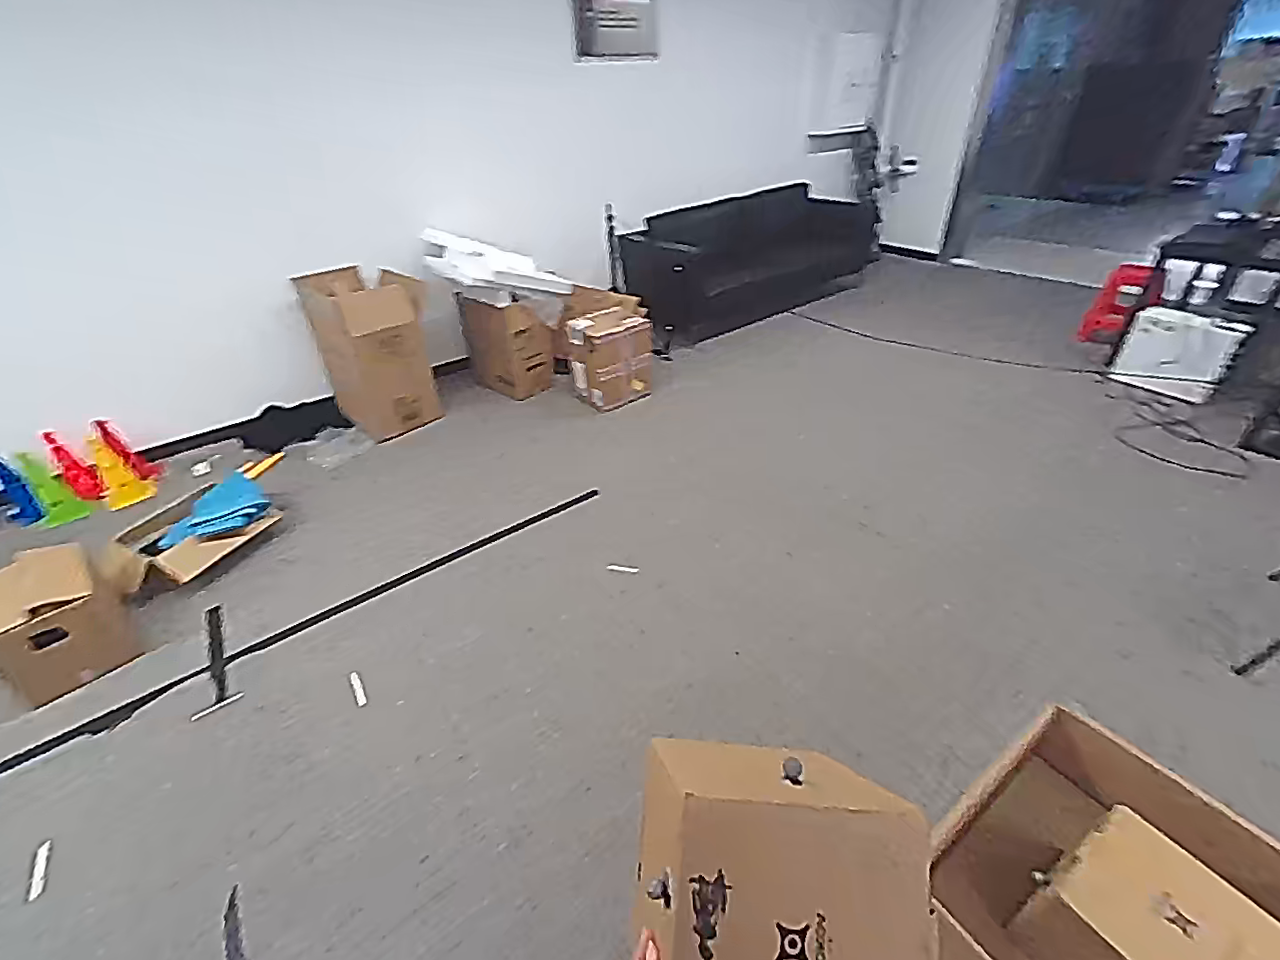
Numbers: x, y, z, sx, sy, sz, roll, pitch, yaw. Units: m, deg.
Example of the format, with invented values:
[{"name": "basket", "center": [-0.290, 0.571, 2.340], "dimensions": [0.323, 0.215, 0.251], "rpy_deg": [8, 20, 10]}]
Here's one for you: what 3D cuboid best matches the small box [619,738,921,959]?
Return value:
[{"name": "small box", "center": [0.088, 0.310, 0.422], "dimensions": [0.179, 0.176, 0.168], "rpy_deg": [9, 74, -7]}]
